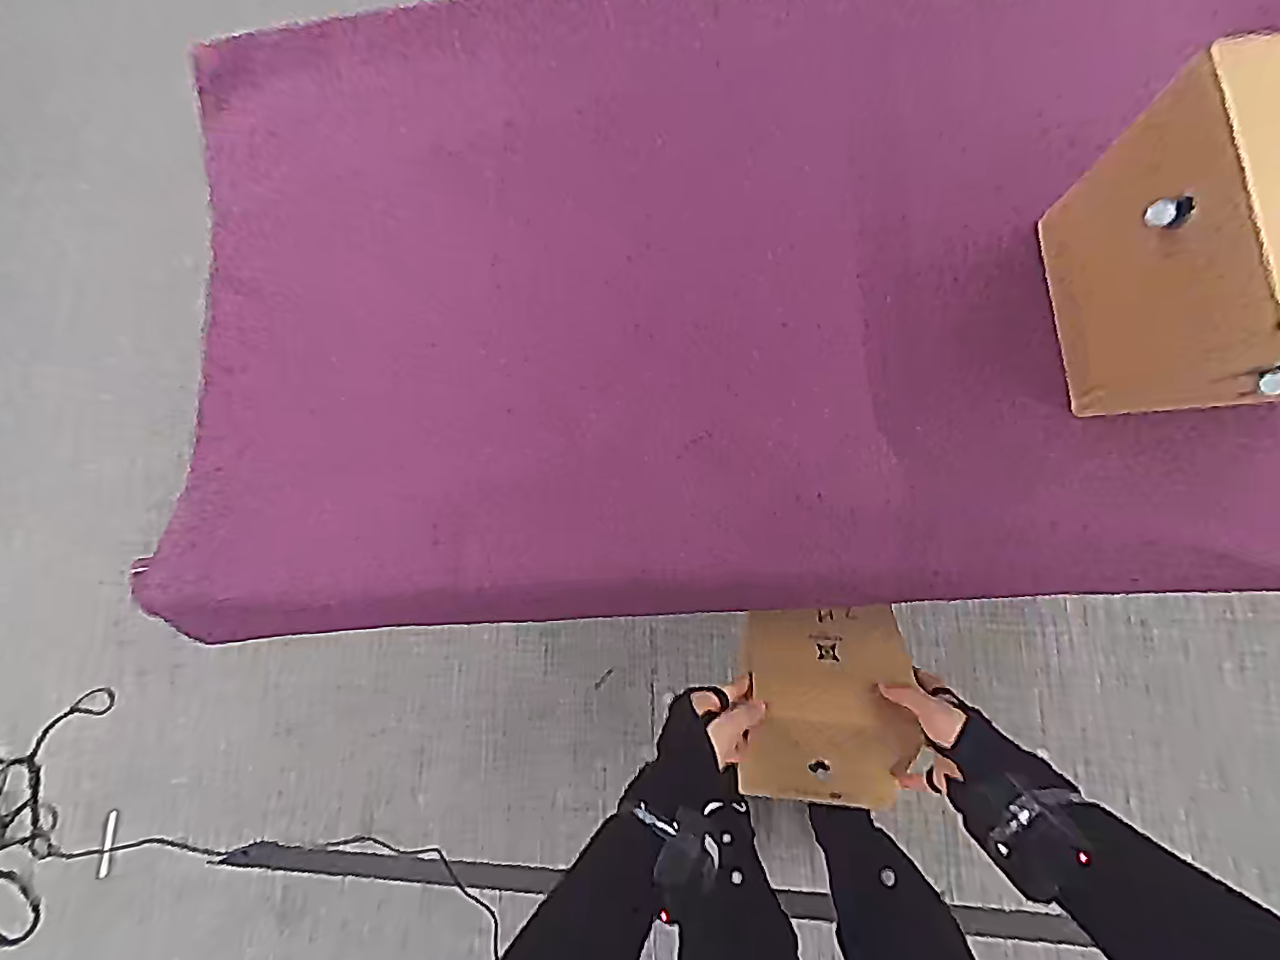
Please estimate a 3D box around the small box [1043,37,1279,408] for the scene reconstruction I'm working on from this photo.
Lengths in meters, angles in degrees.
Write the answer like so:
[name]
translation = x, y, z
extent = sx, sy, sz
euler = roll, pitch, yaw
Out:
[small box]
translation = 0.414, -0.152, 0.360
extent = 0.168, 0.176, 0.179
euler = -4, 80, 7
